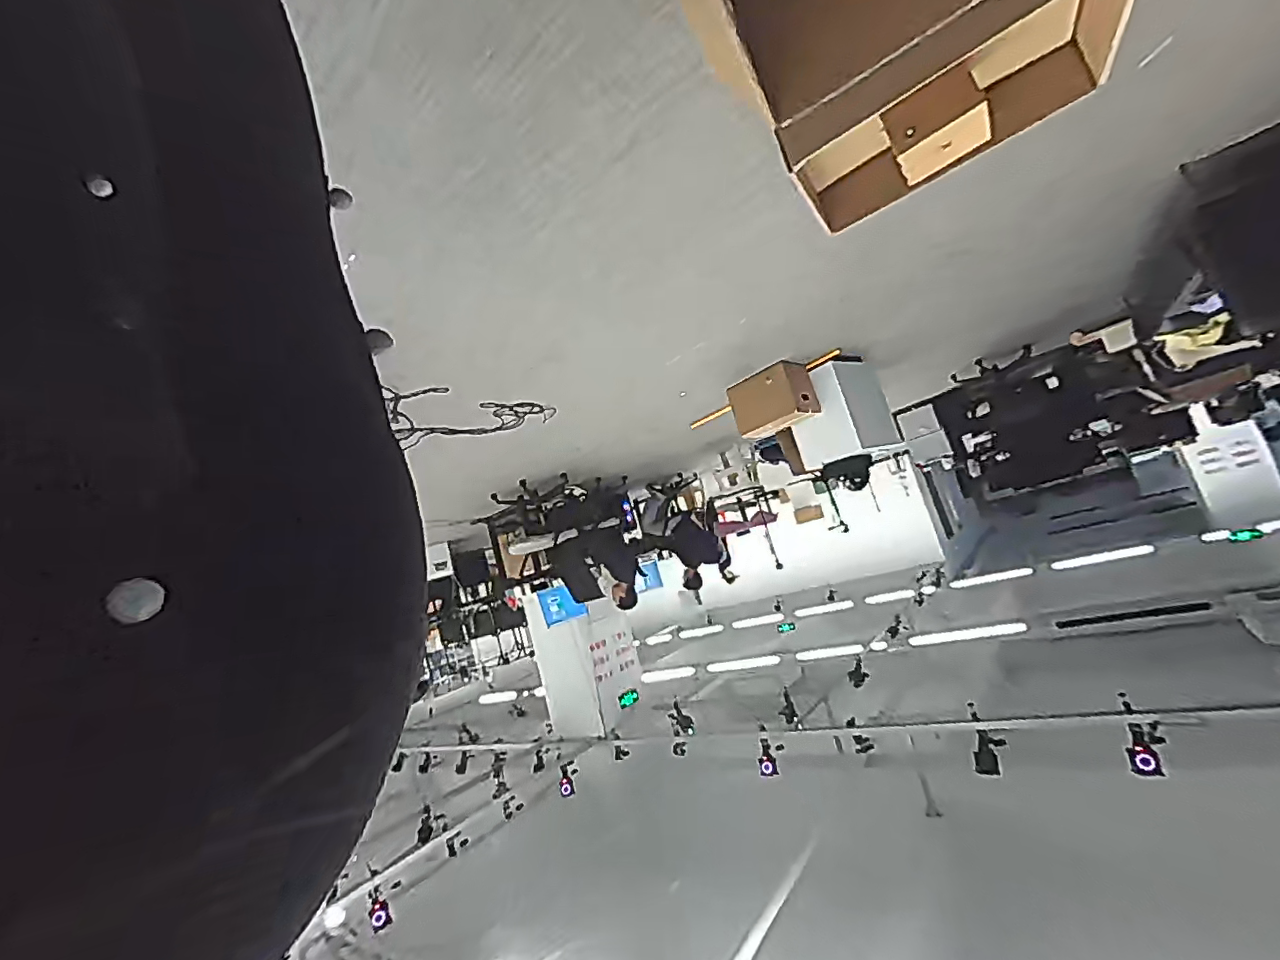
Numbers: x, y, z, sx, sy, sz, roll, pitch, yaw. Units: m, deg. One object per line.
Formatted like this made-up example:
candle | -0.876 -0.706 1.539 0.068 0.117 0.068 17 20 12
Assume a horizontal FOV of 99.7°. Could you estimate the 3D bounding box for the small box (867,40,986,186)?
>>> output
small box | 0.633 -0.806 1.196 0.179 0.176 0.168 -23 170 35
